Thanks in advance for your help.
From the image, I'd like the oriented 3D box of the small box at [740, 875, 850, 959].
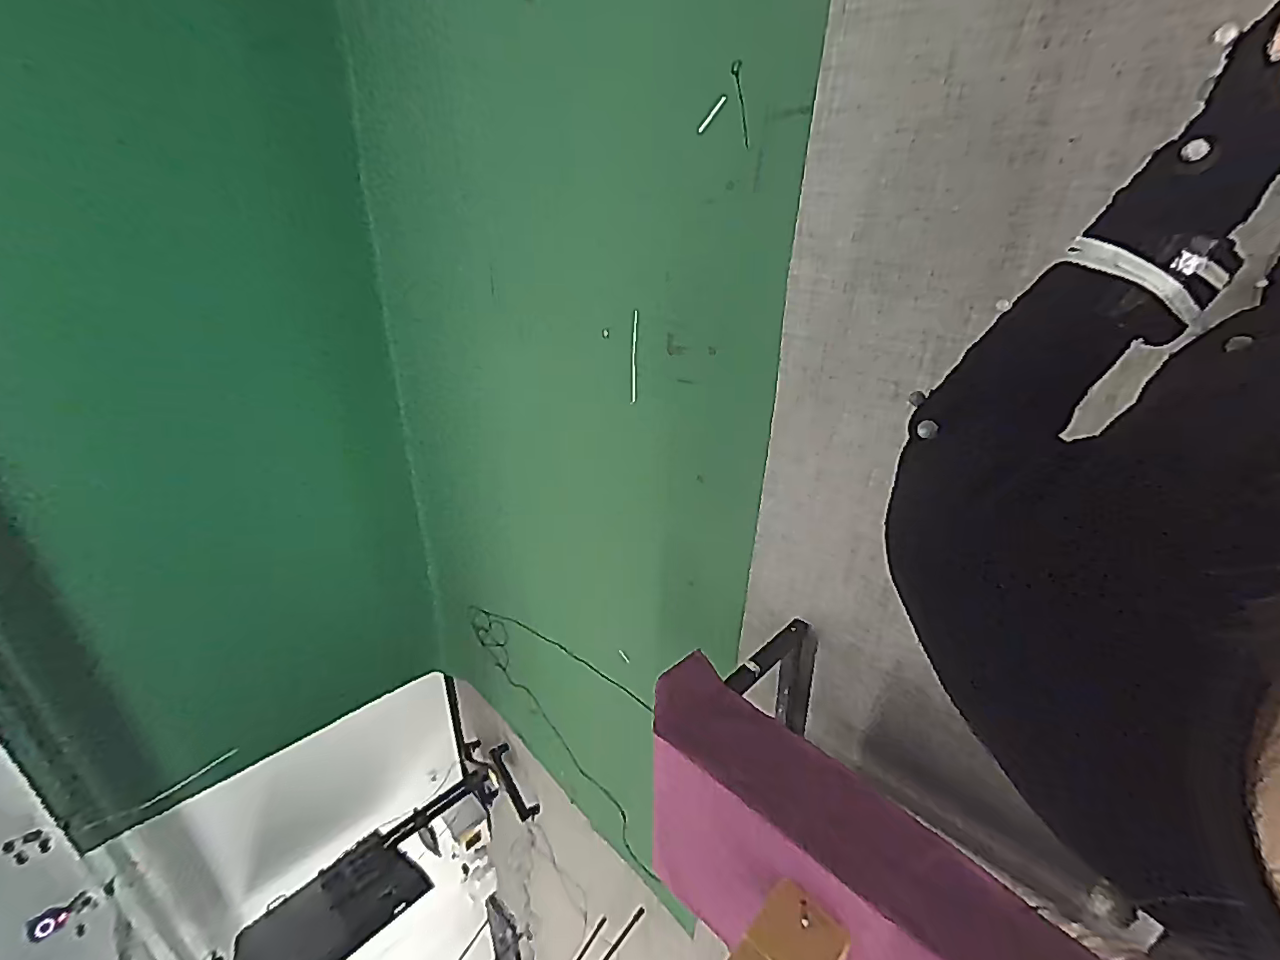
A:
[{"bbox_3d":[0.339,1.036,1.188,0.168,0.176,0.179,23,123,40],"label":"small box"}]
